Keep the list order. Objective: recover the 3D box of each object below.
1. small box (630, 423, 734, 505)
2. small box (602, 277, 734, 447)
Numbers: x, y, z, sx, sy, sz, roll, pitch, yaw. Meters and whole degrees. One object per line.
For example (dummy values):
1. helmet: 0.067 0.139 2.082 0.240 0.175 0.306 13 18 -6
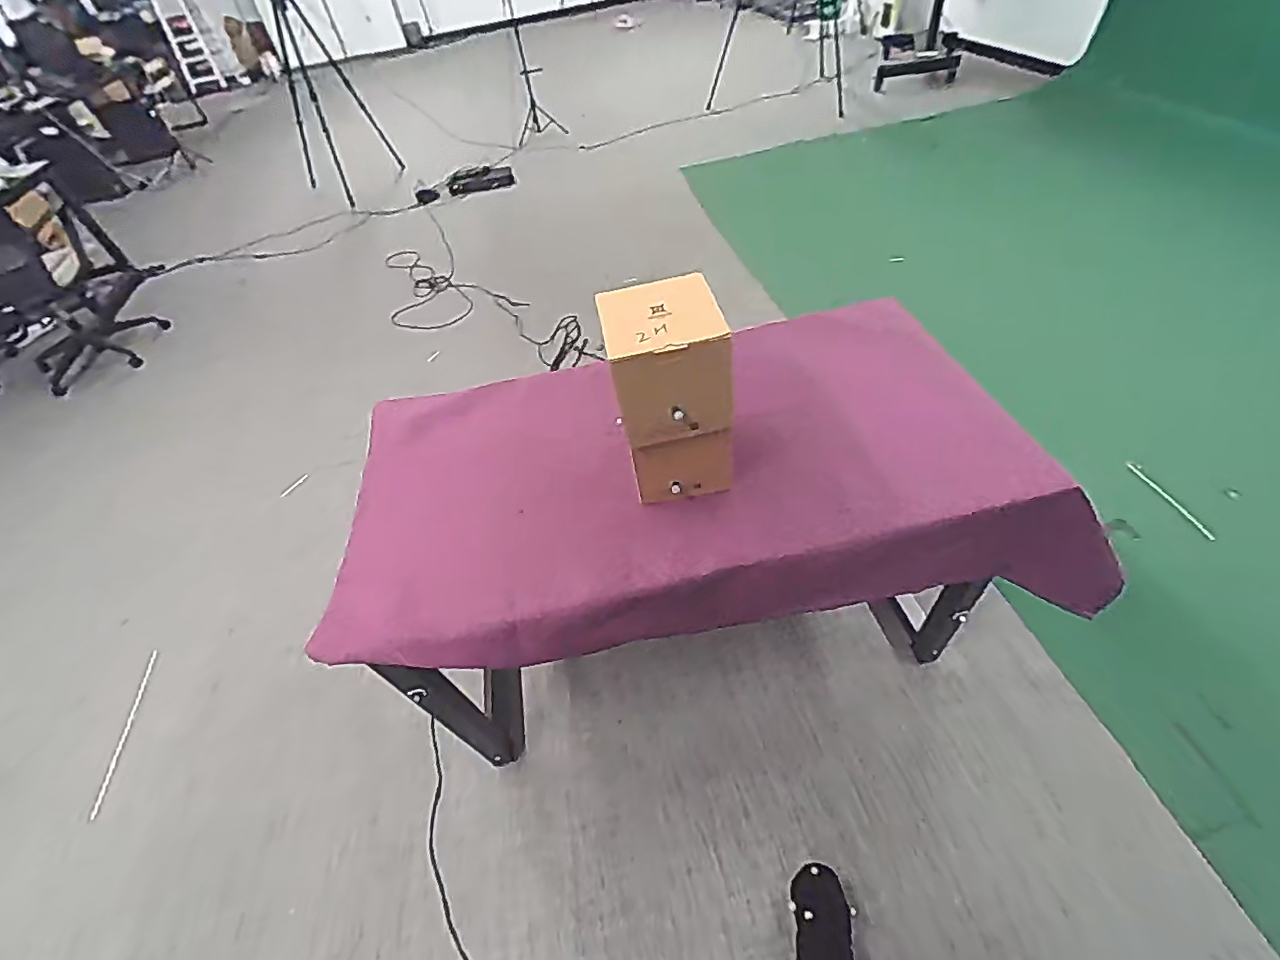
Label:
1. small box: 0.065 -0.082 0.955 0.168 0.176 0.179 -10 48 1
2. small box: 0.042 -0.177 0.822 0.168 0.176 0.179 -12 48 1
